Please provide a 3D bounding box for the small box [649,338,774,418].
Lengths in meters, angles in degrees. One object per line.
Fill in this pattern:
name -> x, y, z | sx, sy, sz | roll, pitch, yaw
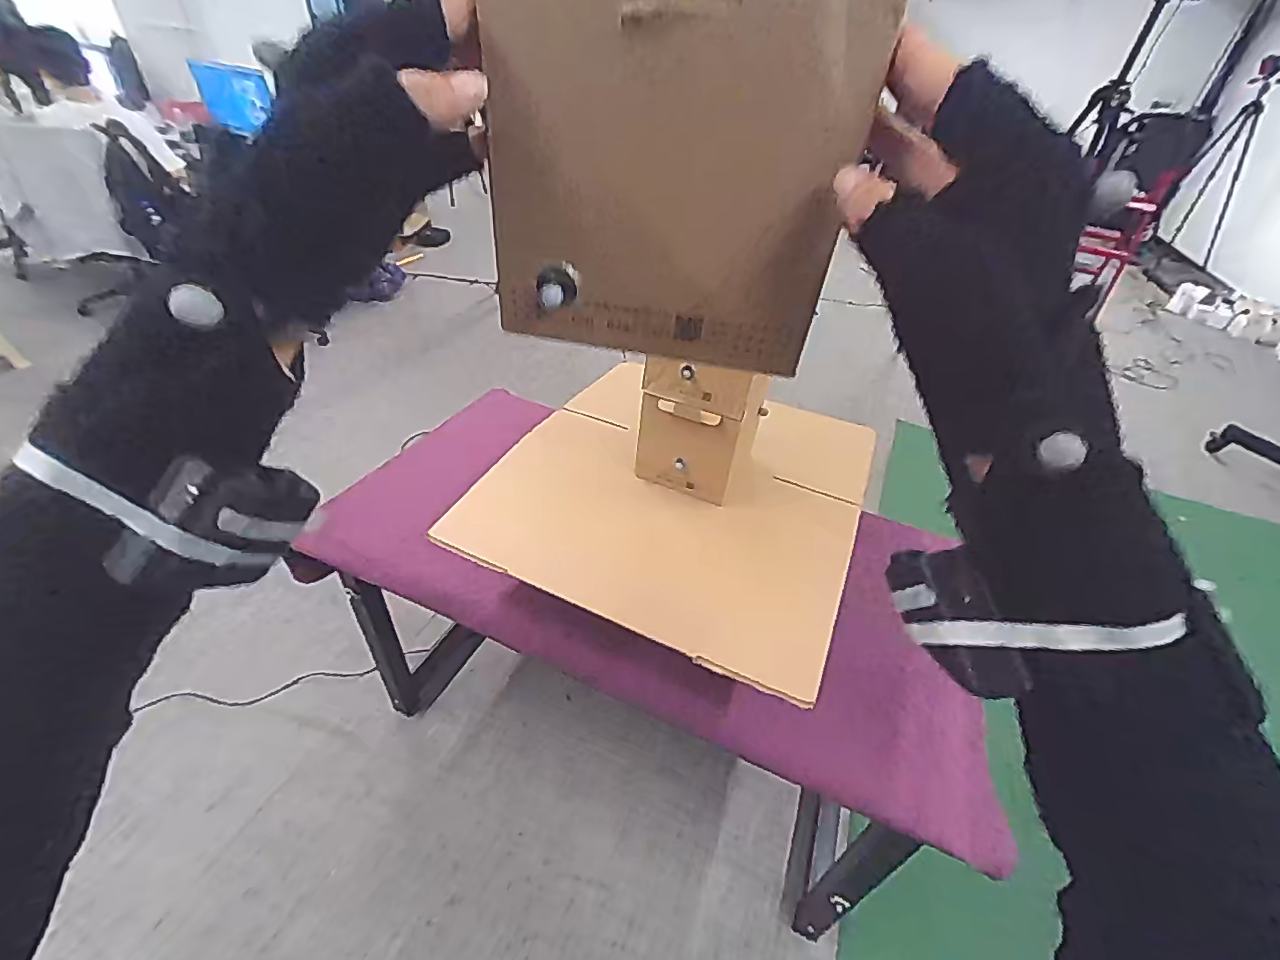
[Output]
small box -> 0.123, -0.223, 0.842 | 0.168, 0.176, 0.179 | 19, 39, 15

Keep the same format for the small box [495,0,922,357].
small box -> 0.030, -0.189, 0.308 | 0.168, 0.176, 0.179 | 8, 42, 1

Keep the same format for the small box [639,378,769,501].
small box -> 0.107, -0.094, 0.940 | 0.168, 0.176, 0.179 | 20, 39, 17
